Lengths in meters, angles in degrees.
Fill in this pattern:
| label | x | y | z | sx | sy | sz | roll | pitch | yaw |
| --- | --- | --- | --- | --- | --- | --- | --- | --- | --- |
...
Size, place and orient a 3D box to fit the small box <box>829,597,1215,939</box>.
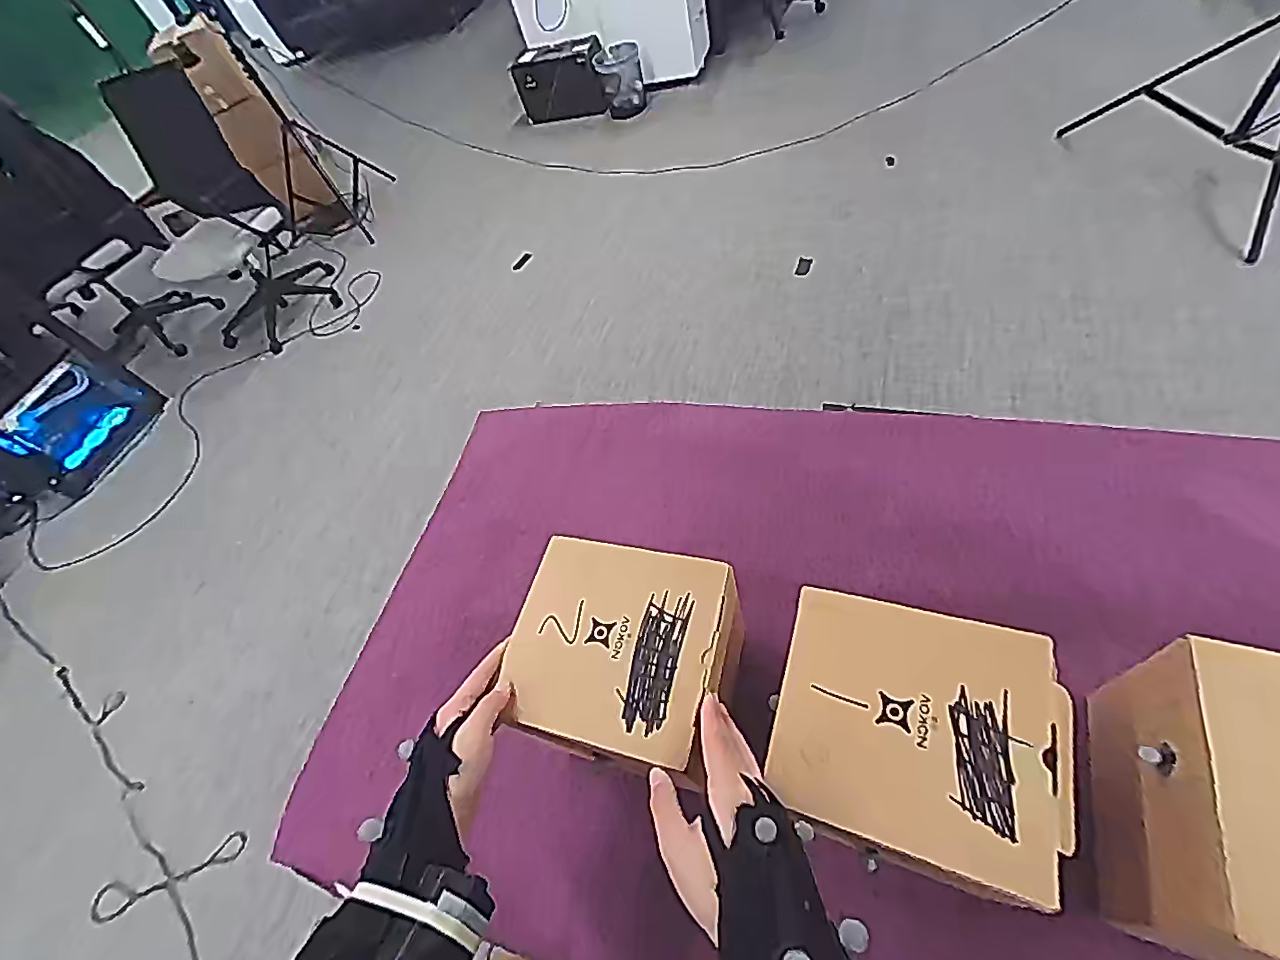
| label | x | y | z | sx | sy | sz | roll | pitch | yaw |
| --- | --- | --- | --- | --- | --- | --- | --- | --- | --- |
| small box | 0.259 | 0.204 | 0.413 | 0.179 | 0.176 | 0.168 | -12 | 93 | 14 |
